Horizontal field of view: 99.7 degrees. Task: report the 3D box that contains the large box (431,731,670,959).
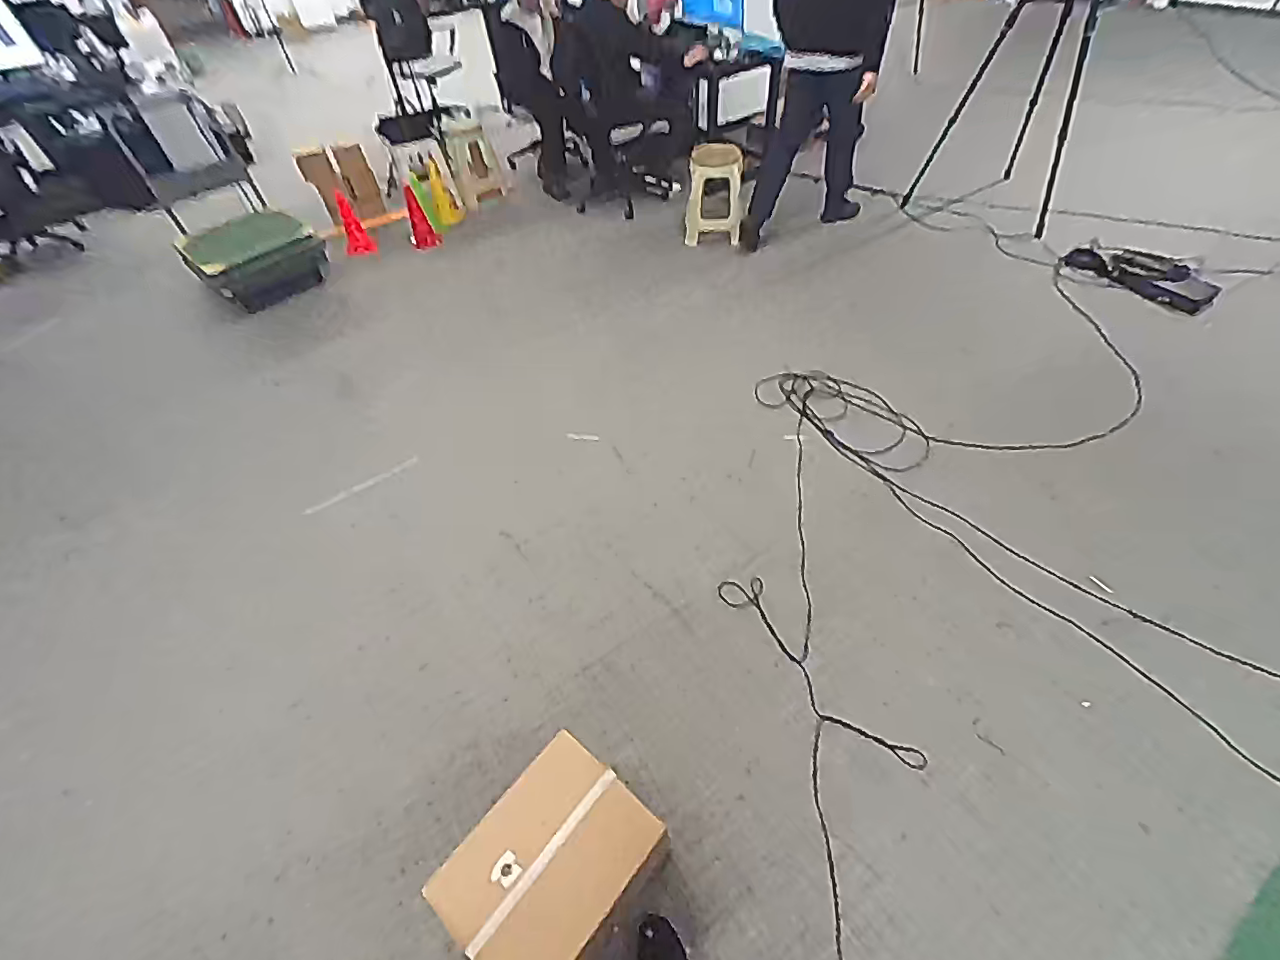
[{"bbox_3d":[-0.169,0.867,1.216,0.320,0.320,0.408,31,59,28],"label":"large box"}]
